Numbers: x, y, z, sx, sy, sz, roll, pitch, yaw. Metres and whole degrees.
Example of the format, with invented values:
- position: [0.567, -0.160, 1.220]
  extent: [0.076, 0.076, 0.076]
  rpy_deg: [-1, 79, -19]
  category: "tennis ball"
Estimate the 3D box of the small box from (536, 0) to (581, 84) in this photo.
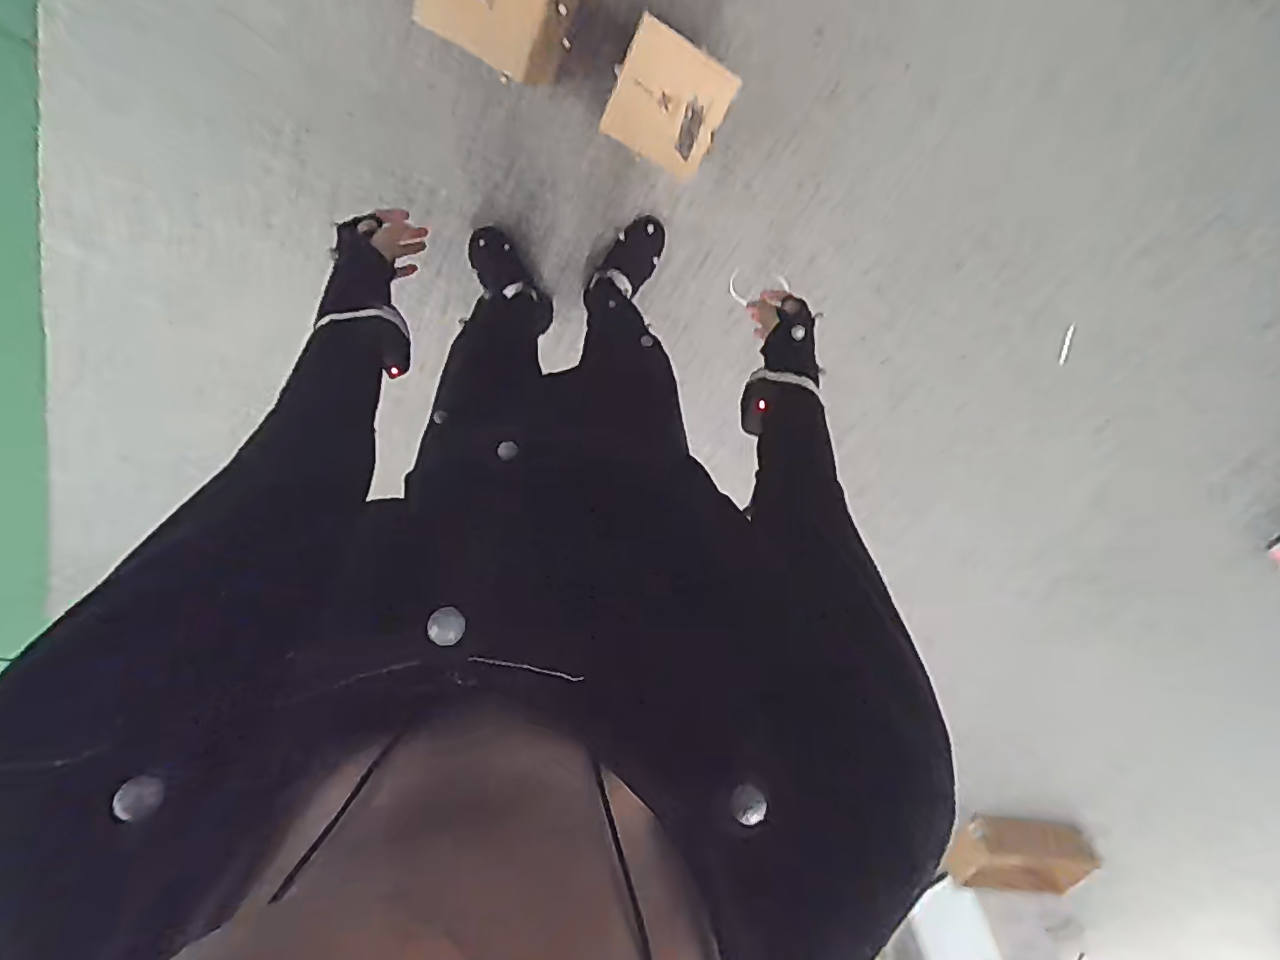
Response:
- position: [-0.219, -0.860, 0.990]
  extent: [0.179, 0.176, 0.168]
  rpy_deg: [24, 120, -14]
  category: "small box"

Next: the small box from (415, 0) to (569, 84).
- position: [-0.223, -0.763, 0.858]
  extent: [0.179, 0.176, 0.168]
  rpy_deg: [24, 119, -13]
  category: "small box"

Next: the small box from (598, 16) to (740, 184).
- position: [0.046, -0.644, 0.931]
  extent: [0.179, 0.176, 0.168]
  rpy_deg: [26, 119, -14]
  category: "small box"
